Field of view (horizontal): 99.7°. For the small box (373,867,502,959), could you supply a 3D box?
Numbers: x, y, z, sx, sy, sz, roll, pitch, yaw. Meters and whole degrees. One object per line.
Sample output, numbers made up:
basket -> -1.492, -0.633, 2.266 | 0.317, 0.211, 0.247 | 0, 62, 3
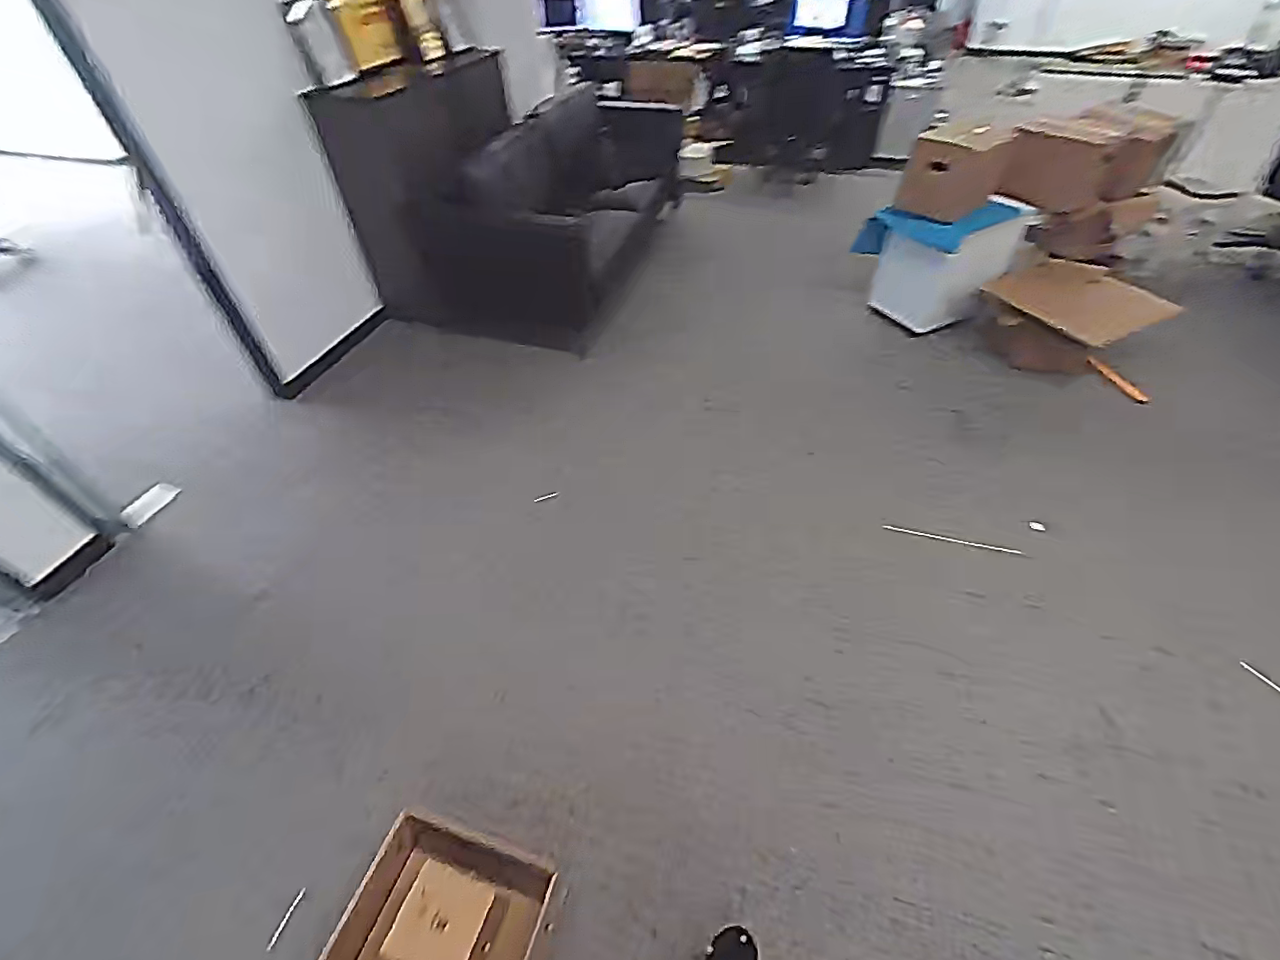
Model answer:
small box -> -0.415, 0.959, 1.146 | 0.179, 0.176, 0.168 | 14, 48, 14
